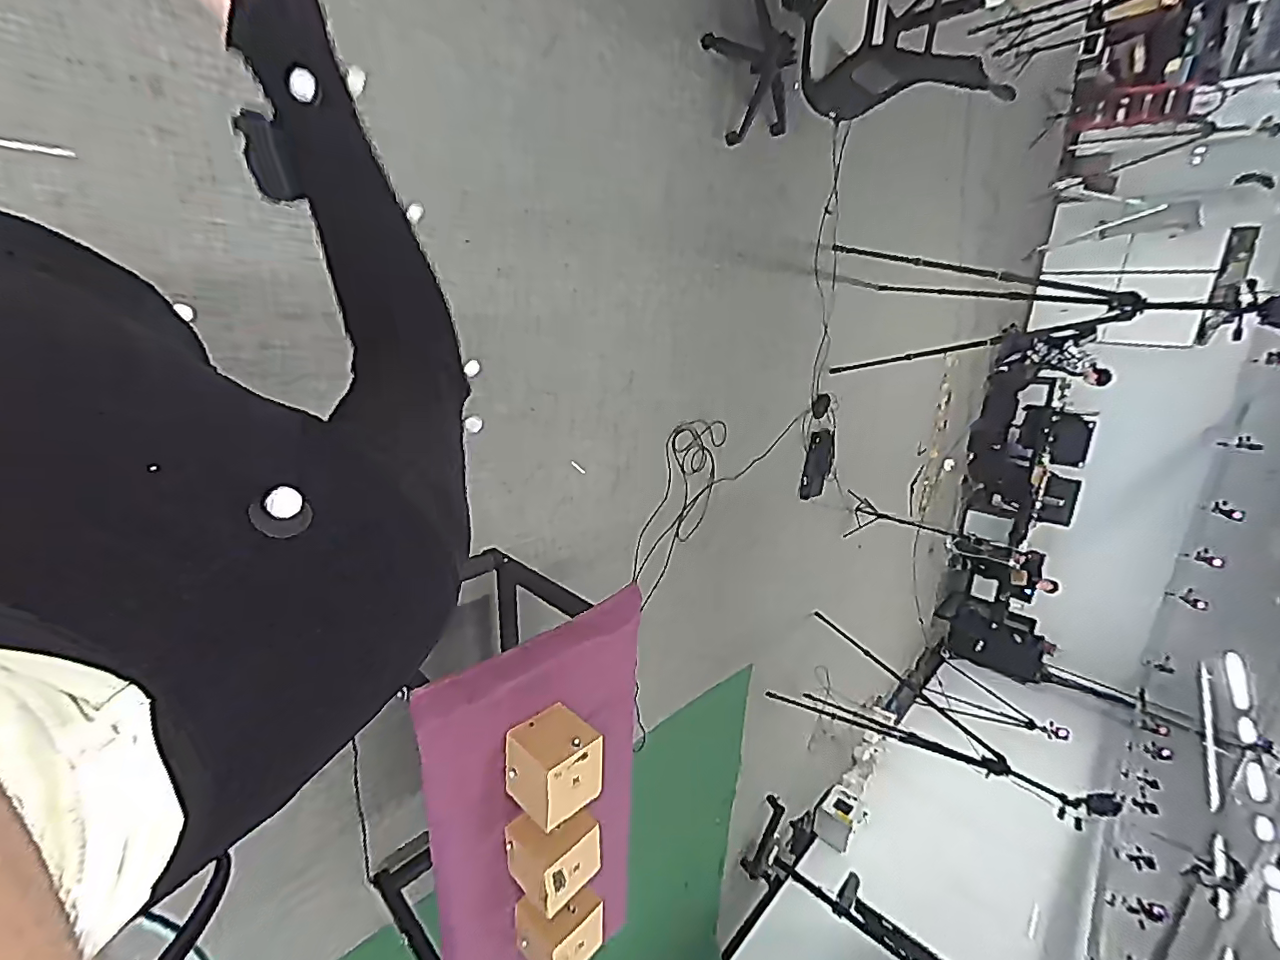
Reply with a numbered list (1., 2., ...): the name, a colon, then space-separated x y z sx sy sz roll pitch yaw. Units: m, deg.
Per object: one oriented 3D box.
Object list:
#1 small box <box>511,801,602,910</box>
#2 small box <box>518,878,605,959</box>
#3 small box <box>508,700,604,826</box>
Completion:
1. small box: -0.219 0.935 1.398 0.179 0.176 0.168 -20 118 -44
2. small box: -0.217 1.205 1.496 0.179 0.176 0.168 -16 114 -44
3. small box: -0.208 0.679 1.320 0.168 0.176 0.179 -14 114 -46
